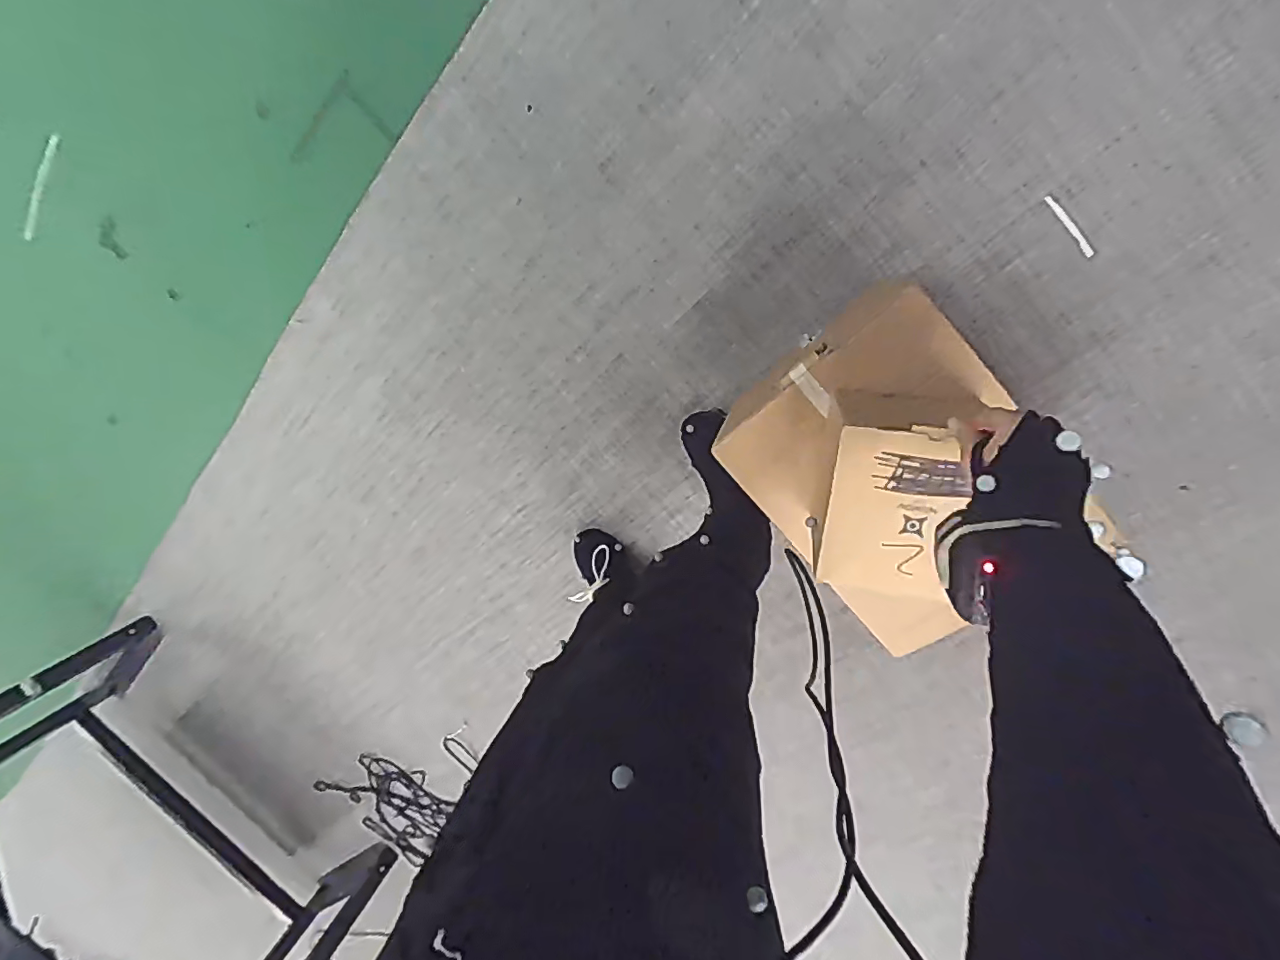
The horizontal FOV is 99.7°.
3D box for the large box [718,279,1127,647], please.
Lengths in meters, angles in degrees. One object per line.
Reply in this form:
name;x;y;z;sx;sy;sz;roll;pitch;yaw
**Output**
large box;0.377;-0.044;0.820;0.320;0.320;0.408;-40;97;26
